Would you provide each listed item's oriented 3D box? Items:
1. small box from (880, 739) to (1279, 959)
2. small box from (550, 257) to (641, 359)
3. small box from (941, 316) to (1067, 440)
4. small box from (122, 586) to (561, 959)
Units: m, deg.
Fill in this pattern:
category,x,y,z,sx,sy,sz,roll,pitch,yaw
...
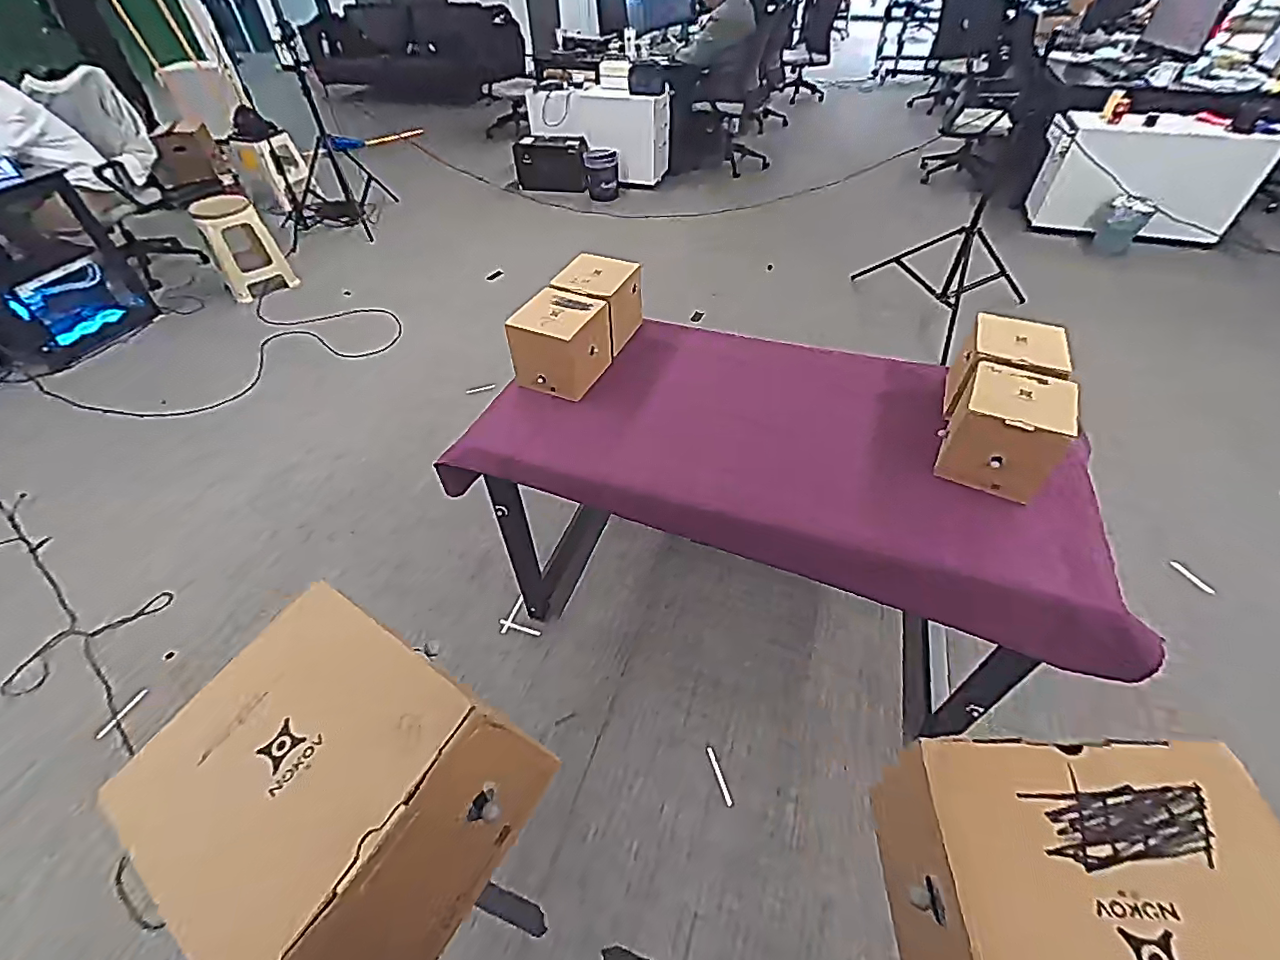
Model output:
category,x,y,z,sx,sy,sz,roll,pitch,yaw
small box,0.259,0.271,0.323,0.168,0.176,0.179,-3,51,8
small box,-0.107,-0.436,1.367,0.168,0.176,0.179,17,50,17
small box,0.755,-0.215,1.141,0.168,0.176,0.179,17,48,16
small box,-0.183,0.211,0.381,0.179,0.176,0.168,22,59,29
